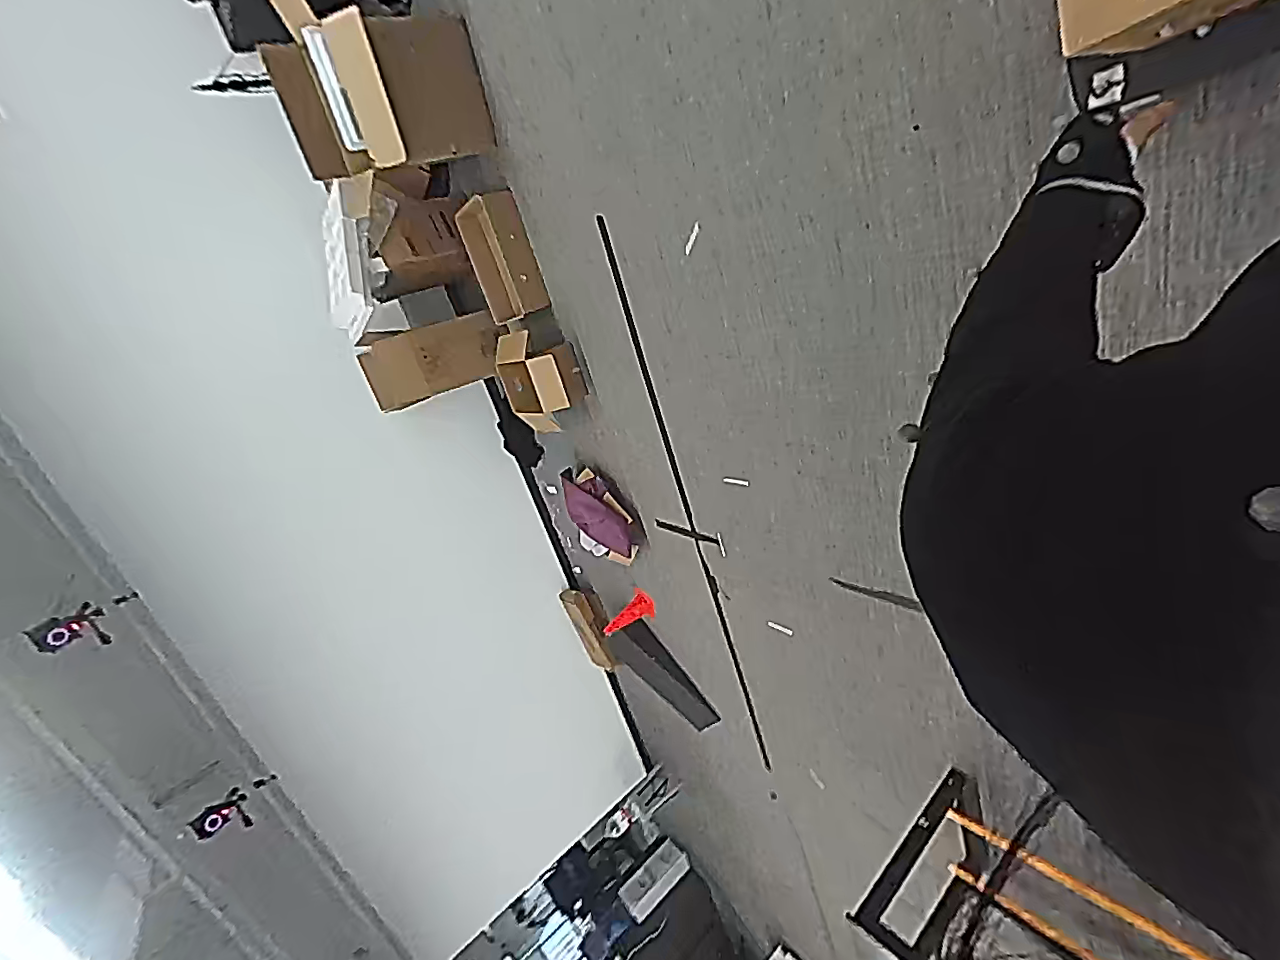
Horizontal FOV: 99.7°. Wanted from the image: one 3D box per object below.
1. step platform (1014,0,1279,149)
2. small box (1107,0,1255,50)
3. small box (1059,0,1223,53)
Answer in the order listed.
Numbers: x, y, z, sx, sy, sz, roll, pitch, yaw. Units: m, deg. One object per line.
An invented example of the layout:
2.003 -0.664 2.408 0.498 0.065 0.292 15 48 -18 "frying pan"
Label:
0.824 -0.633 0.576 0.684 0.204 0.286 9 123 54 "step platform"
0.741 -0.707 0.710 0.168 0.176 0.179 10 124 54 "small box"
0.614 -0.641 0.630 0.168 0.176 0.179 7 122 55 "small box"
